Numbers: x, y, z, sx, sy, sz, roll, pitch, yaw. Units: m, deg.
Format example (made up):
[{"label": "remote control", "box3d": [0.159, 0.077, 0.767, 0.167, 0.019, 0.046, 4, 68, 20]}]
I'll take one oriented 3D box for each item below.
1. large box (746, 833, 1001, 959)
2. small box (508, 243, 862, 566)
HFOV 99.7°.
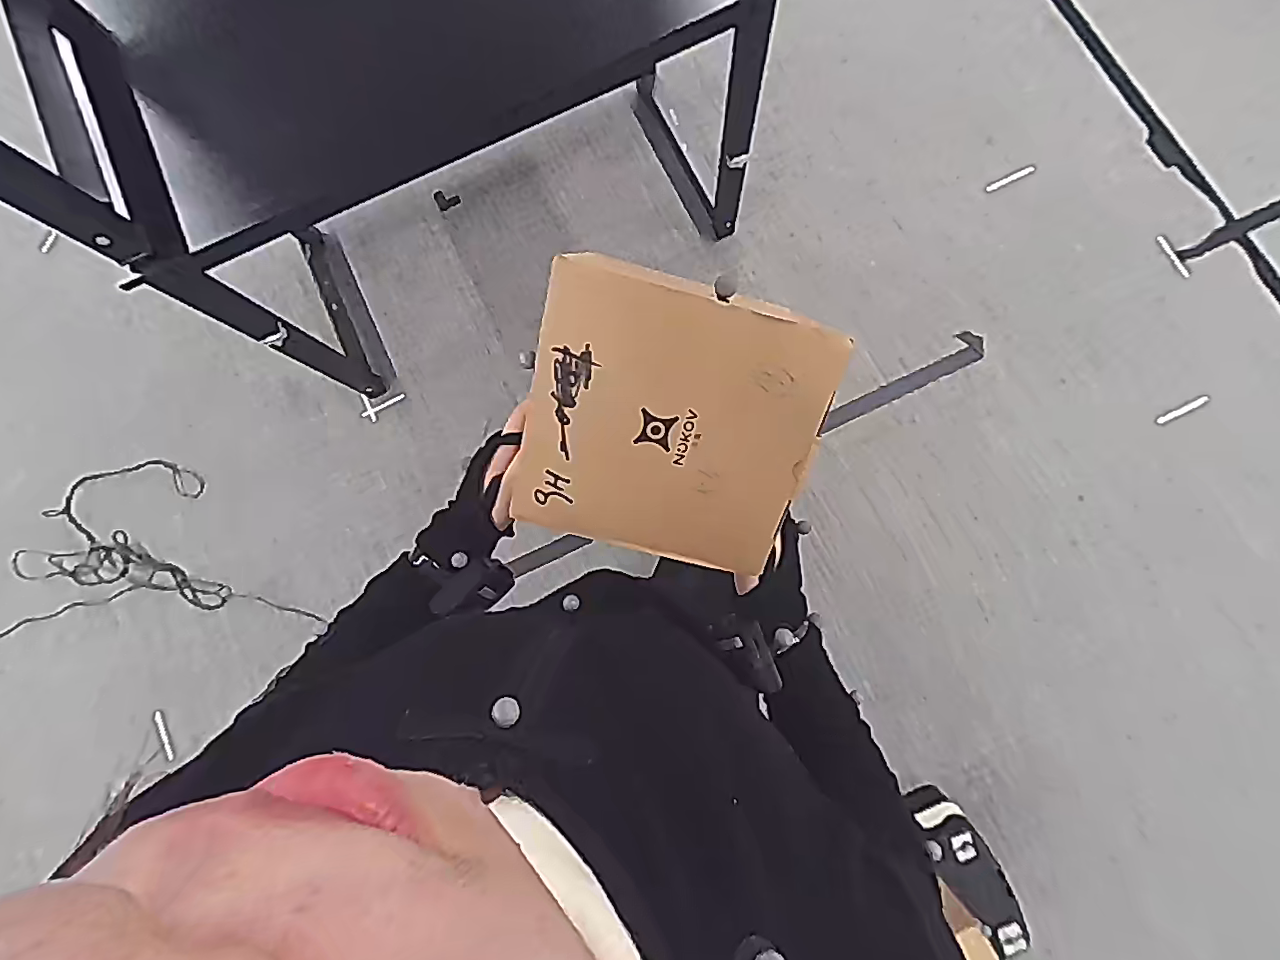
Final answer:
[{"label": "large box", "box3d": [0.465, 0.979, 1.022, 0.408, 0.320, 0.320, -29, 83, -2]}, {"label": "small box", "box3d": [0.020, -0.066, 0.393, 0.179, 0.176, 0.168, 14, 113, -5]}]
